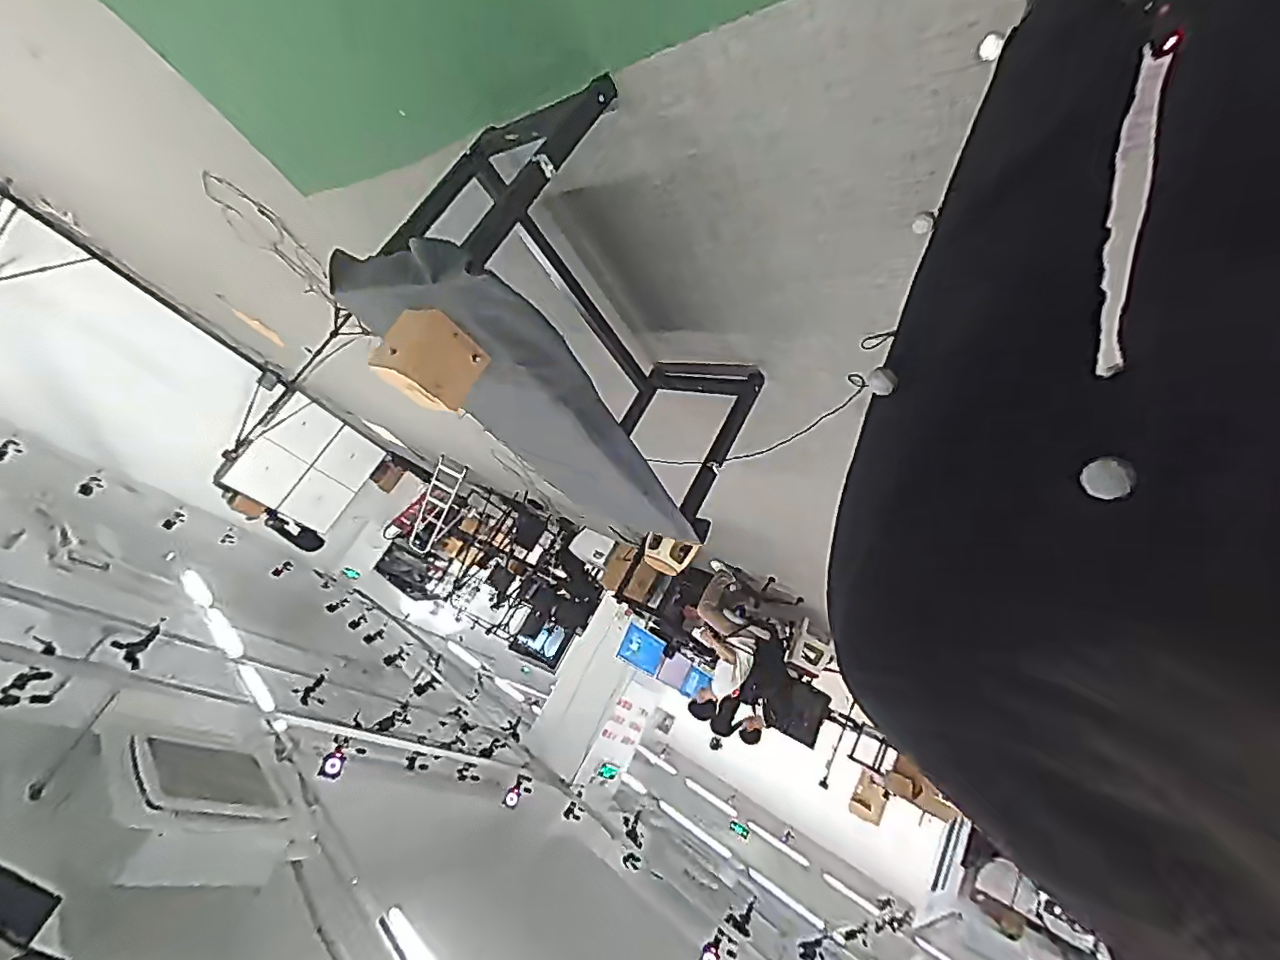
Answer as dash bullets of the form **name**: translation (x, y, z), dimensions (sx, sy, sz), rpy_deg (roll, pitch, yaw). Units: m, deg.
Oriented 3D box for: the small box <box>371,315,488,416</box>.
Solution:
- **small box**: translation (-0.489, -0.274, 1.279), dimensions (0.179, 0.176, 0.168), rpy_deg (16, 160, 41)
